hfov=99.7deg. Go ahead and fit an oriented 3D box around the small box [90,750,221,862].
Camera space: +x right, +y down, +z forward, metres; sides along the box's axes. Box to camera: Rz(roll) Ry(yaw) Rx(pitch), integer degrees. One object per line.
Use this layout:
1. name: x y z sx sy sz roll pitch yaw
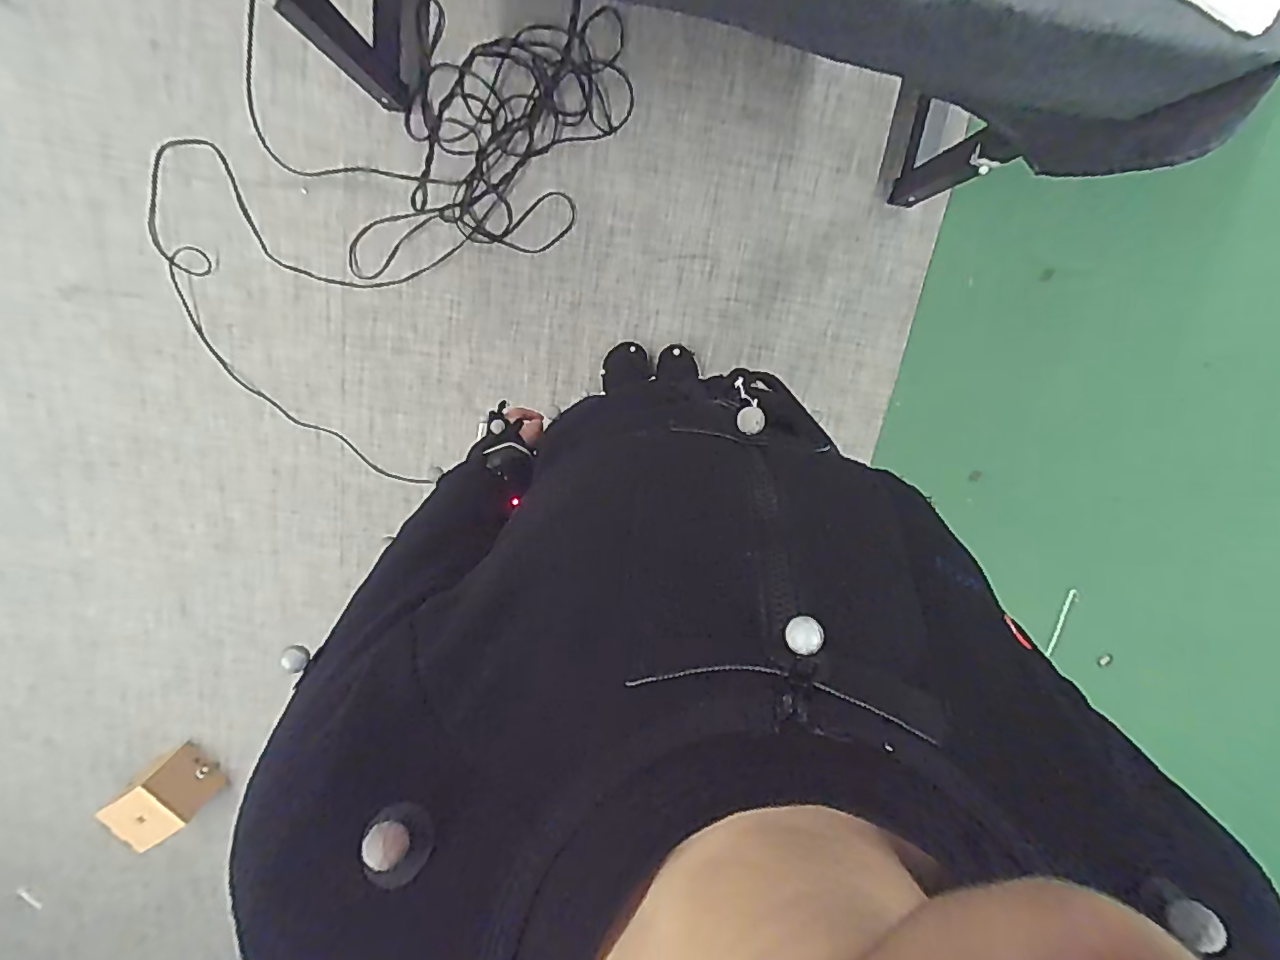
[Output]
1. small box: -1.340 0.903 1.510 0.179 0.176 0.168 -33 104 7
